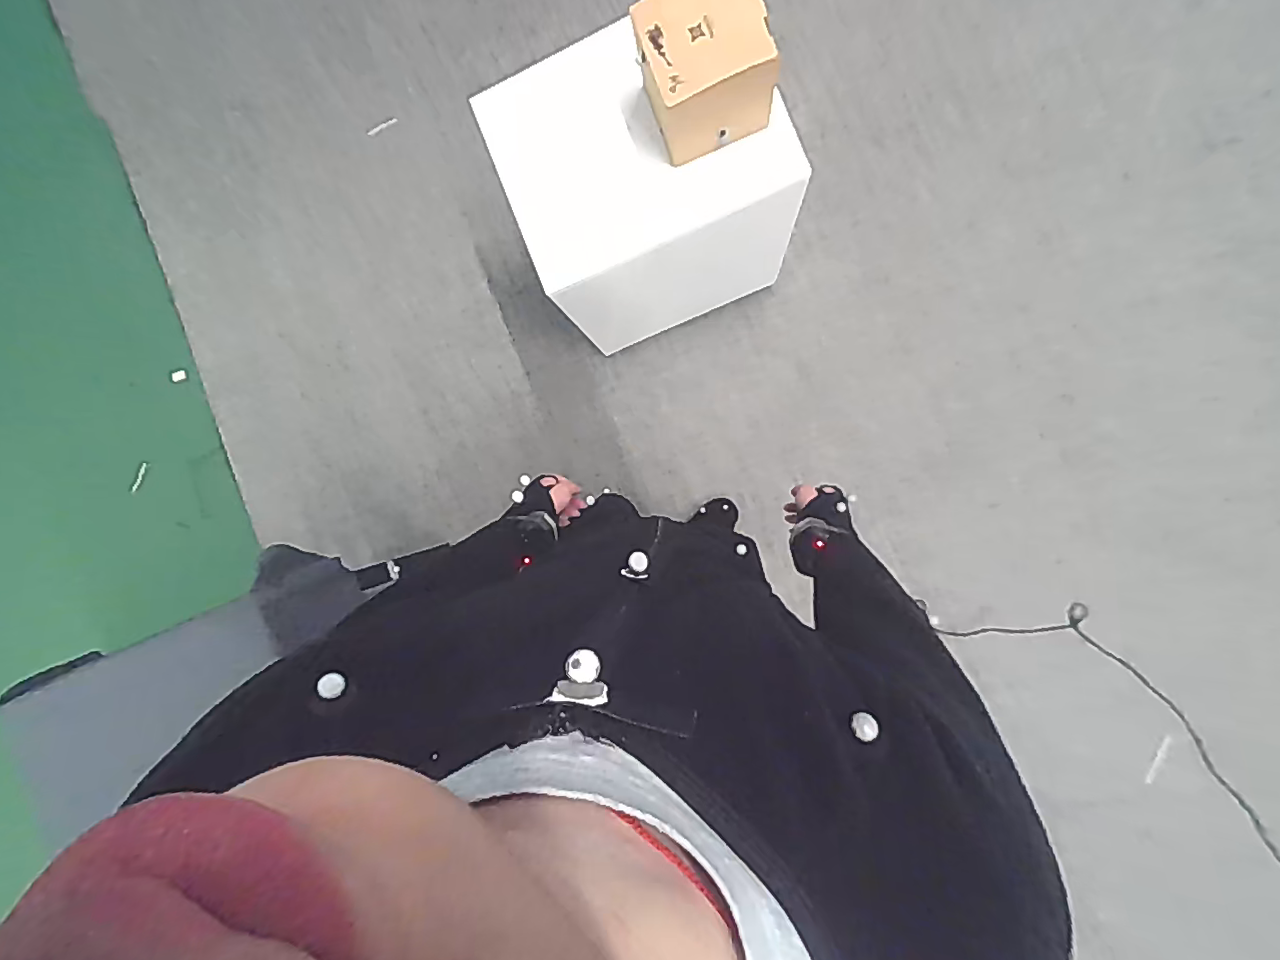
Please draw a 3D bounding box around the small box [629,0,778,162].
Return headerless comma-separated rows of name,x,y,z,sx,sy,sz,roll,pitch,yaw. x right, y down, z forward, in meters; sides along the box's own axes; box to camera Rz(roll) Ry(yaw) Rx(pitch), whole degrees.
small box,0.098,-0.650,0.853,0.179,0.176,0.168,-20,90,7
